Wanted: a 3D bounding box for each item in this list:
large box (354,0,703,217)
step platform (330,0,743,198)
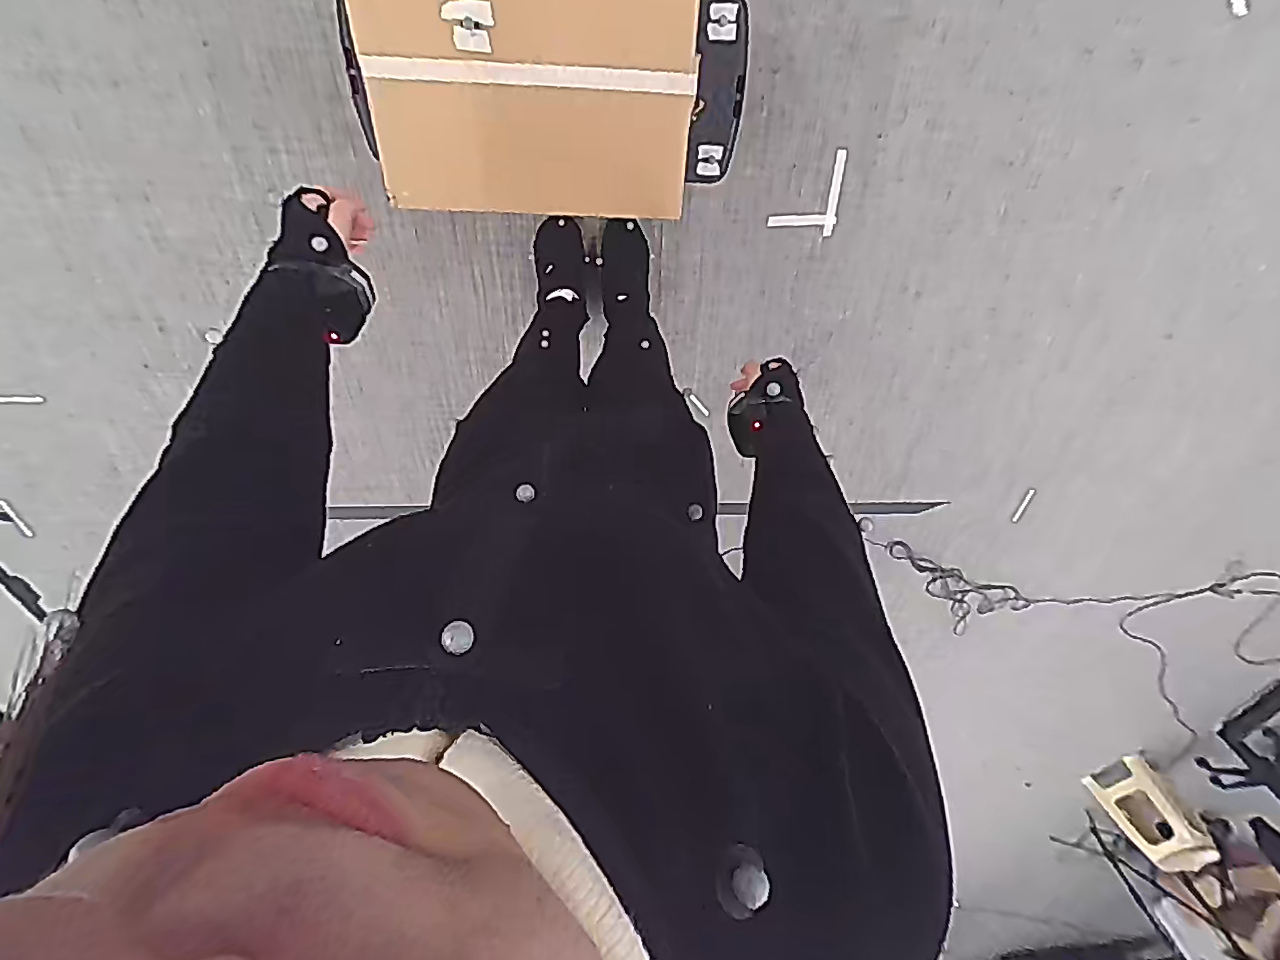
[{"bbox_3d":[-0.132,-0.582,0.773,0.408,0.320,0.320,0,126,-4],"label":"large box"},{"bbox_3d":[-0.165,-0.712,0.972,0.684,0.204,0.286,5,126,-7],"label":"step platform"}]
